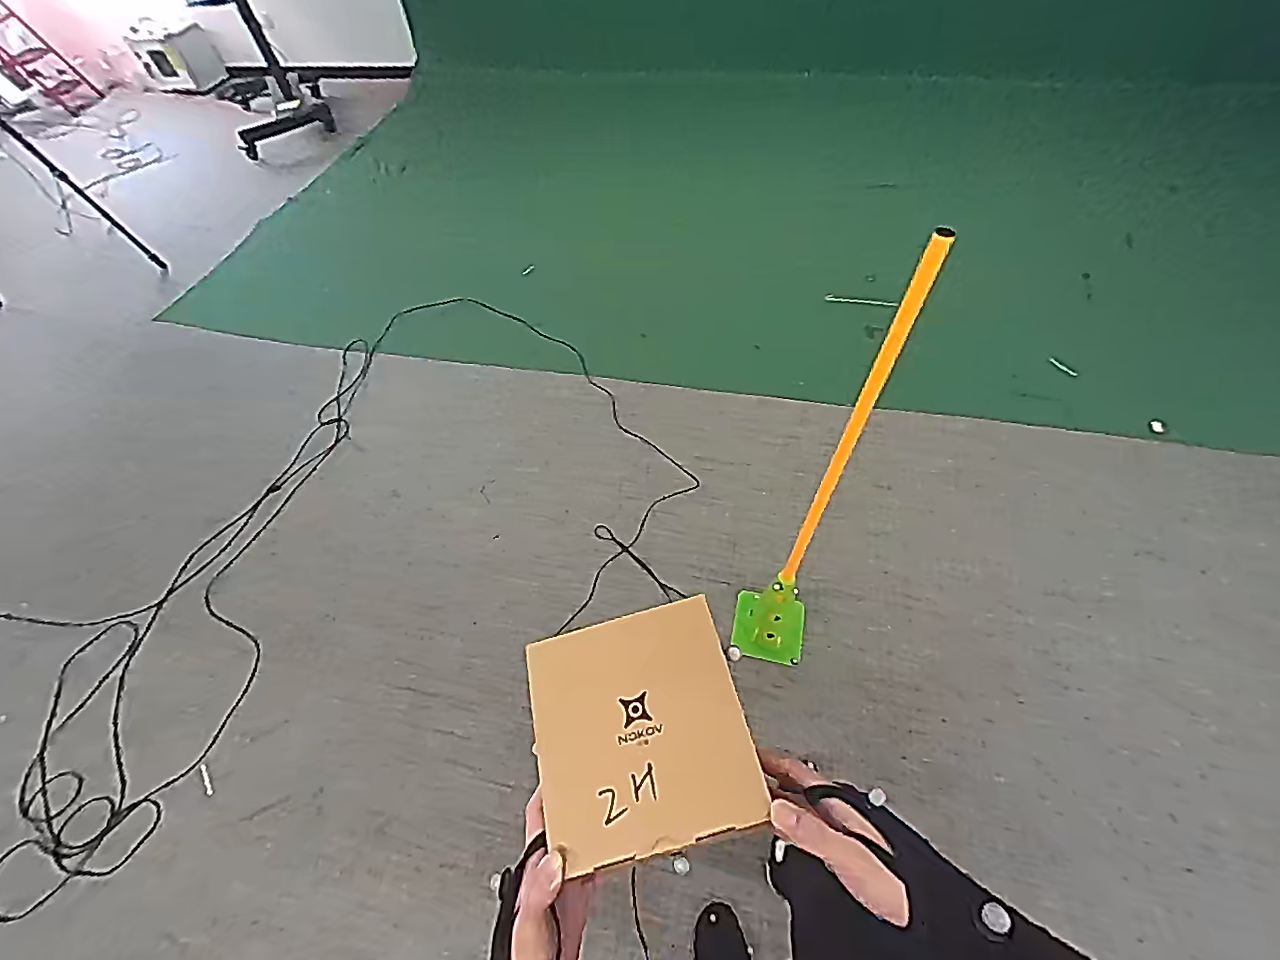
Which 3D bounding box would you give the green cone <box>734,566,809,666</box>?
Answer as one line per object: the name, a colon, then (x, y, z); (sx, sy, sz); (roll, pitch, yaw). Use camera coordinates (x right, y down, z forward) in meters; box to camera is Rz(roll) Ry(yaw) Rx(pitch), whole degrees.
green cone: (0.372, 0.328, 1.445); (0.202, 0.368, 0.200); (9, 55, 12)
